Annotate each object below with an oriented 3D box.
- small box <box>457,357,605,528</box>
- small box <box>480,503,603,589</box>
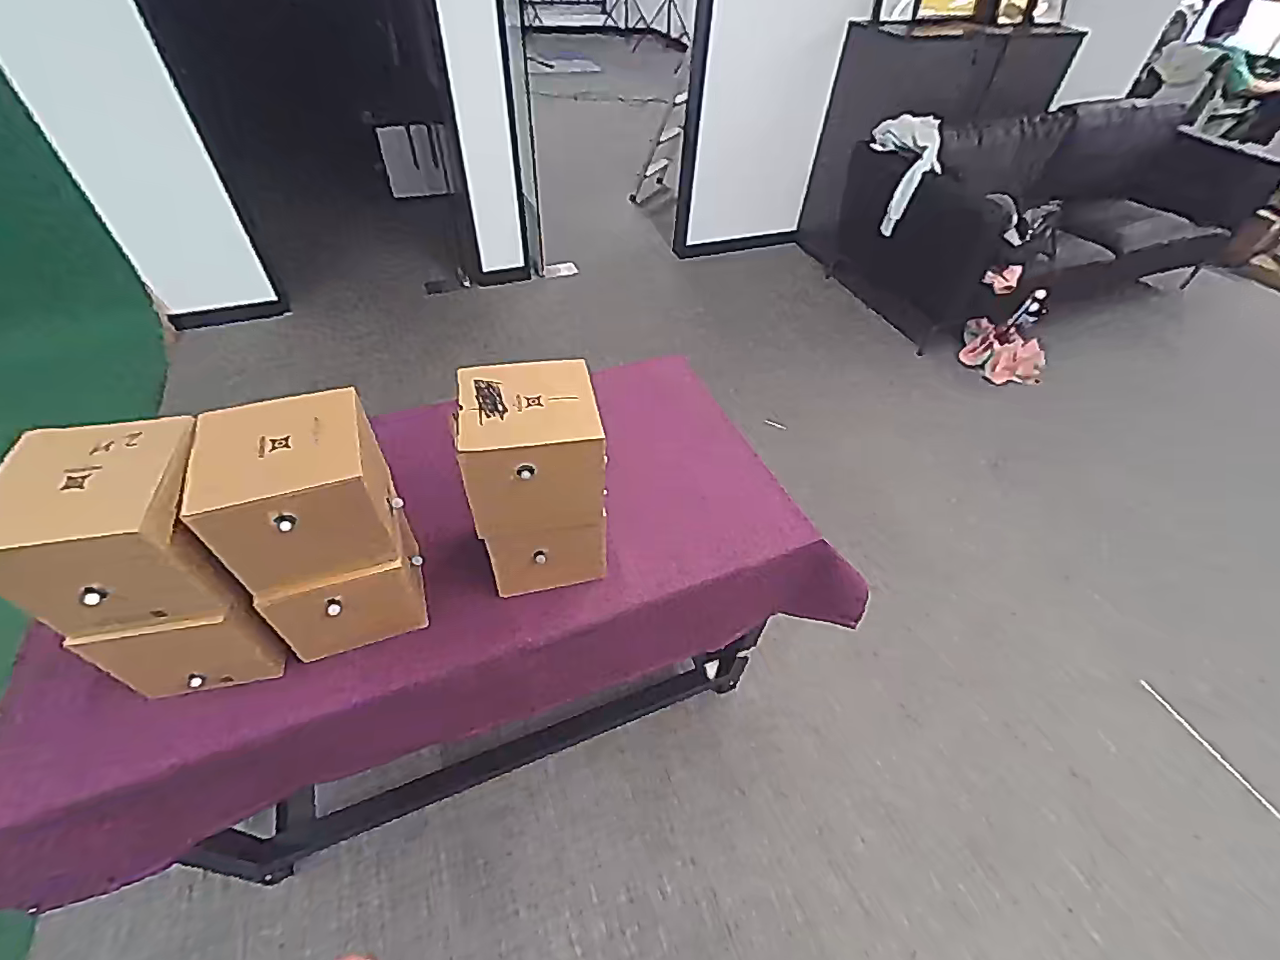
[{"bbox_3d":[-0.147,-0.049,0.745,0.179,0.176,0.168,-6,48,-12],"label":"small box"},{"bbox_3d":[-0.158,0.057,0.871,0.179,0.176,0.168,-8,50,-12],"label":"small box"}]
